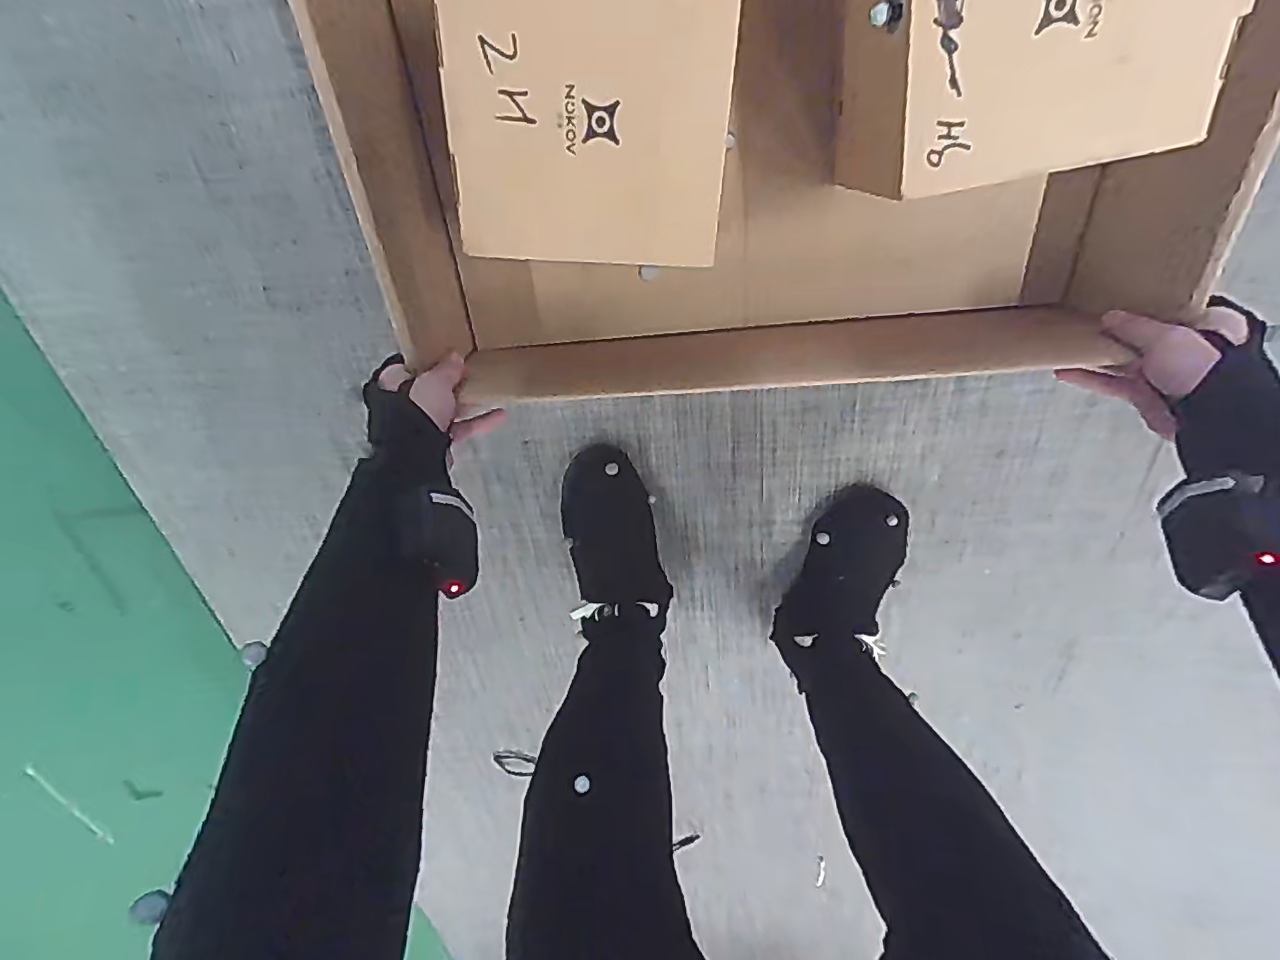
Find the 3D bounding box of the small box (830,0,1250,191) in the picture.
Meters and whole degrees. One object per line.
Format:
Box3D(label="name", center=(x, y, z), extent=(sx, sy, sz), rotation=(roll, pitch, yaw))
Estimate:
Box3D(label="small box", center=(0.234, -0.299, 0.349), extent=(0.179, 0.176, 0.168), rotation=(-7, 121, 9))
